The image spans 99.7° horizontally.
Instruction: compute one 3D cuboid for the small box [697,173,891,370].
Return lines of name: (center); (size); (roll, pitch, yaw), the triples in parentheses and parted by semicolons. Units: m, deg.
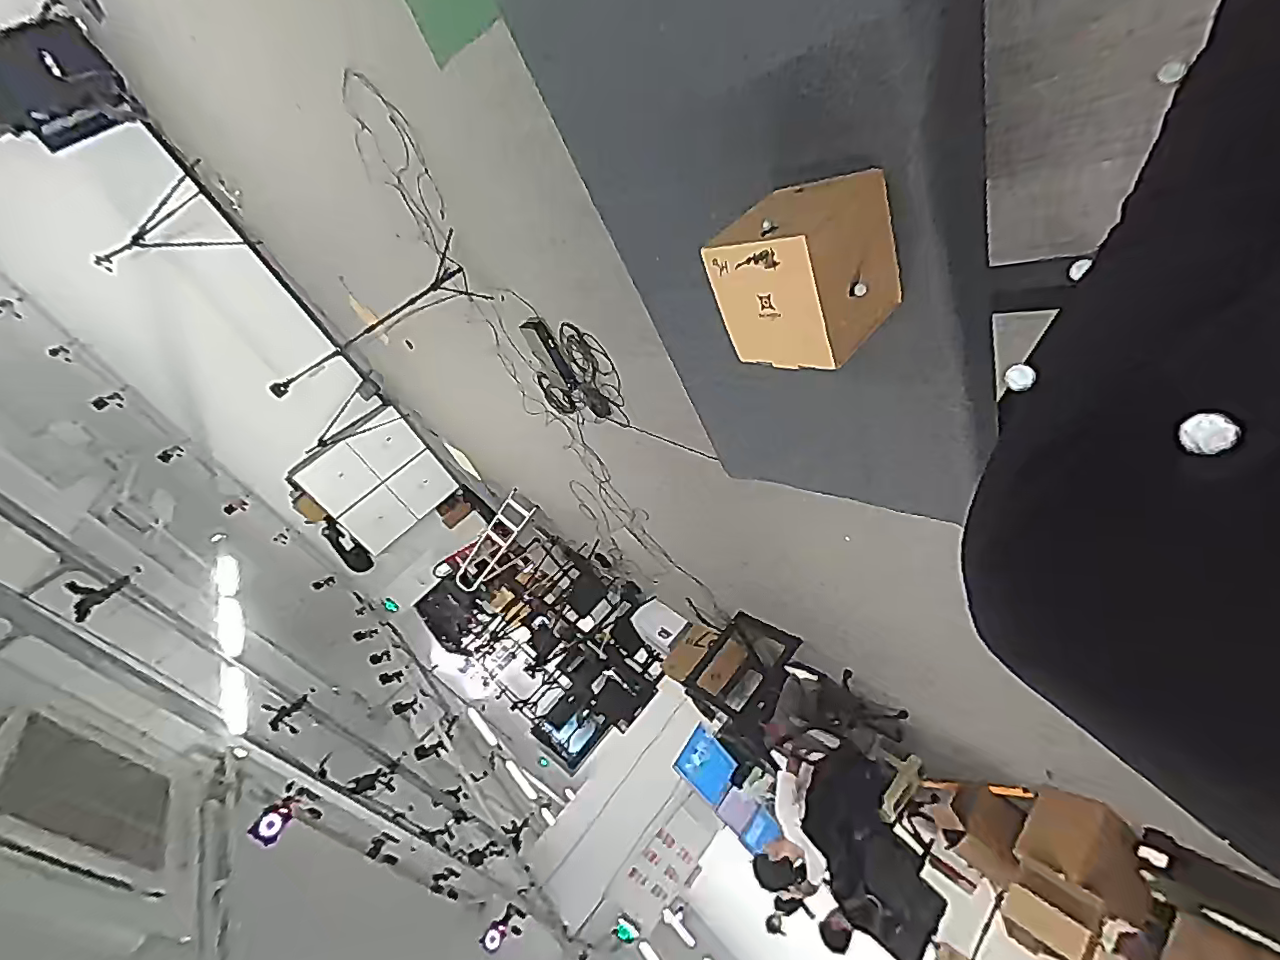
small box: (0.212, -0.274, 0.724); (0.168, 0.176, 0.179); (21, 148, 48)
